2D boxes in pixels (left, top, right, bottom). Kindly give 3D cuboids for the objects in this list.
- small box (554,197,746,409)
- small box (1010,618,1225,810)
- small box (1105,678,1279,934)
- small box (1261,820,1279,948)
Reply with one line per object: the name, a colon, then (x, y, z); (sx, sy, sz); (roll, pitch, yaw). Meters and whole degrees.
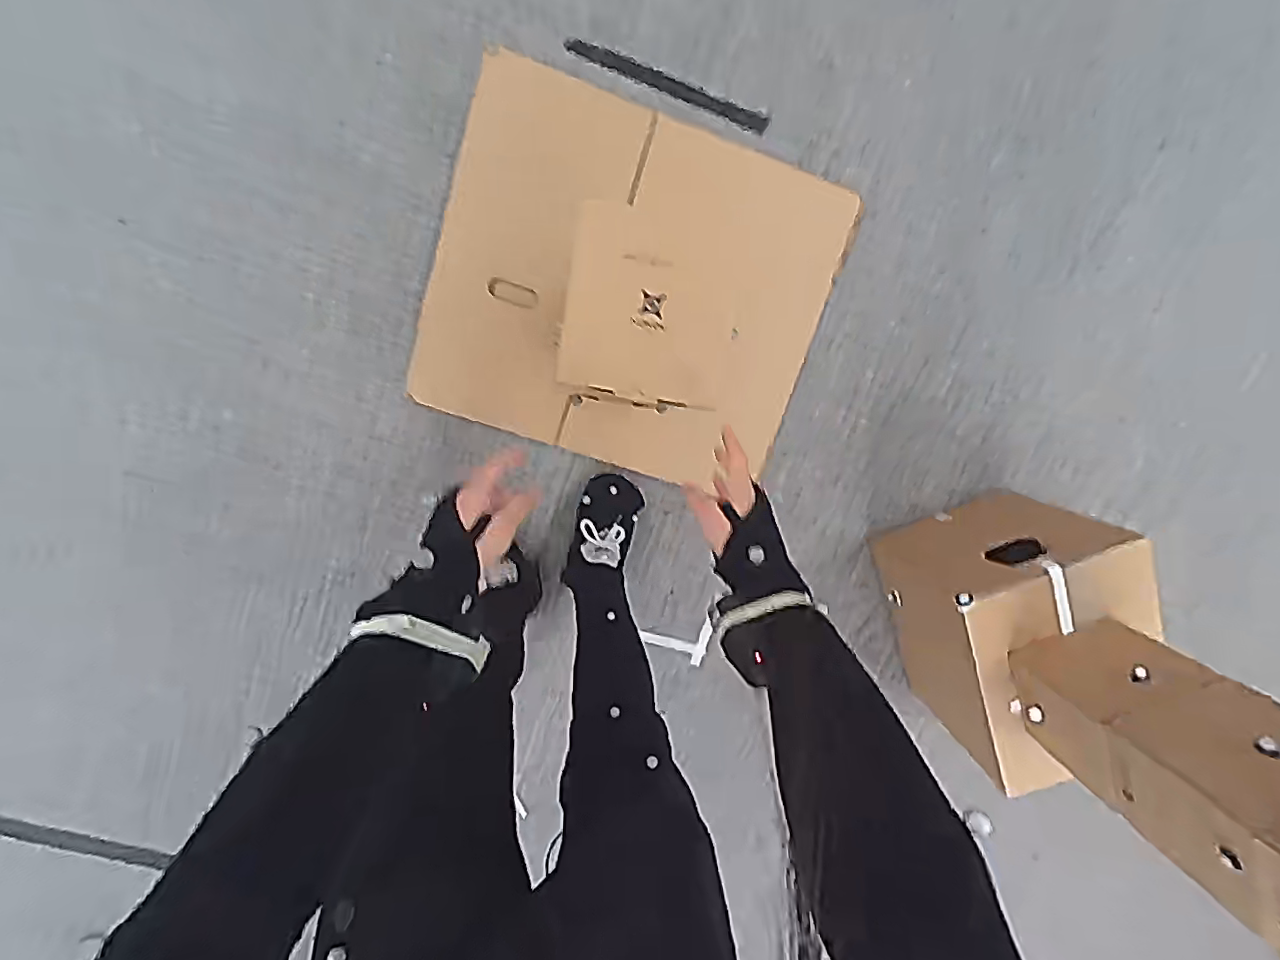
small box: (0.004, -0.185, 0.606); (0.168, 0.176, 0.179); (9, 101, -6)
small box: (0.701, 0.332, 0.800); (0.179, 0.176, 0.168); (-21, 103, 2)
small box: (0.715, 0.368, 0.641); (0.179, 0.176, 0.168); (-21, 103, 0)
small box: (0.725, 0.408, 0.483); (0.179, 0.176, 0.168); (-22, 103, 1)
